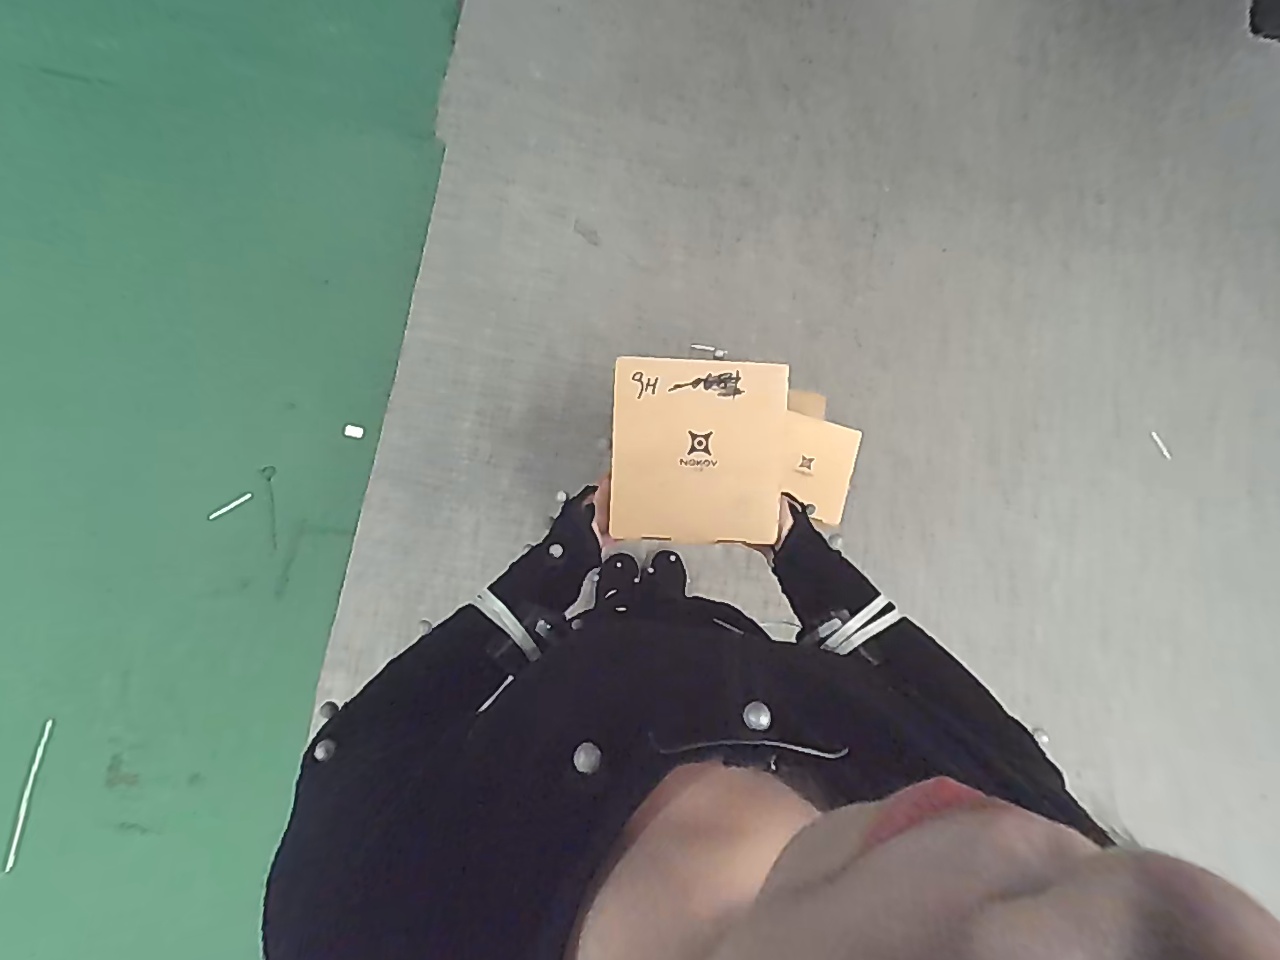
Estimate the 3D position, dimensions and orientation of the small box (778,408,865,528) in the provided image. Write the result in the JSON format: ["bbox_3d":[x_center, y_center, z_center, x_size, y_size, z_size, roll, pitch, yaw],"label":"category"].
[{"bbox_3d":[0.288,-0.017,1.005,0.168,0.176,0.179,16,83,0],"label":"small box"}]

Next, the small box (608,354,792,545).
[{"bbox_3d":[0.053,-0.037,0.586,0.168,0.176,0.179,2,97,-3],"label":"small box"}]
